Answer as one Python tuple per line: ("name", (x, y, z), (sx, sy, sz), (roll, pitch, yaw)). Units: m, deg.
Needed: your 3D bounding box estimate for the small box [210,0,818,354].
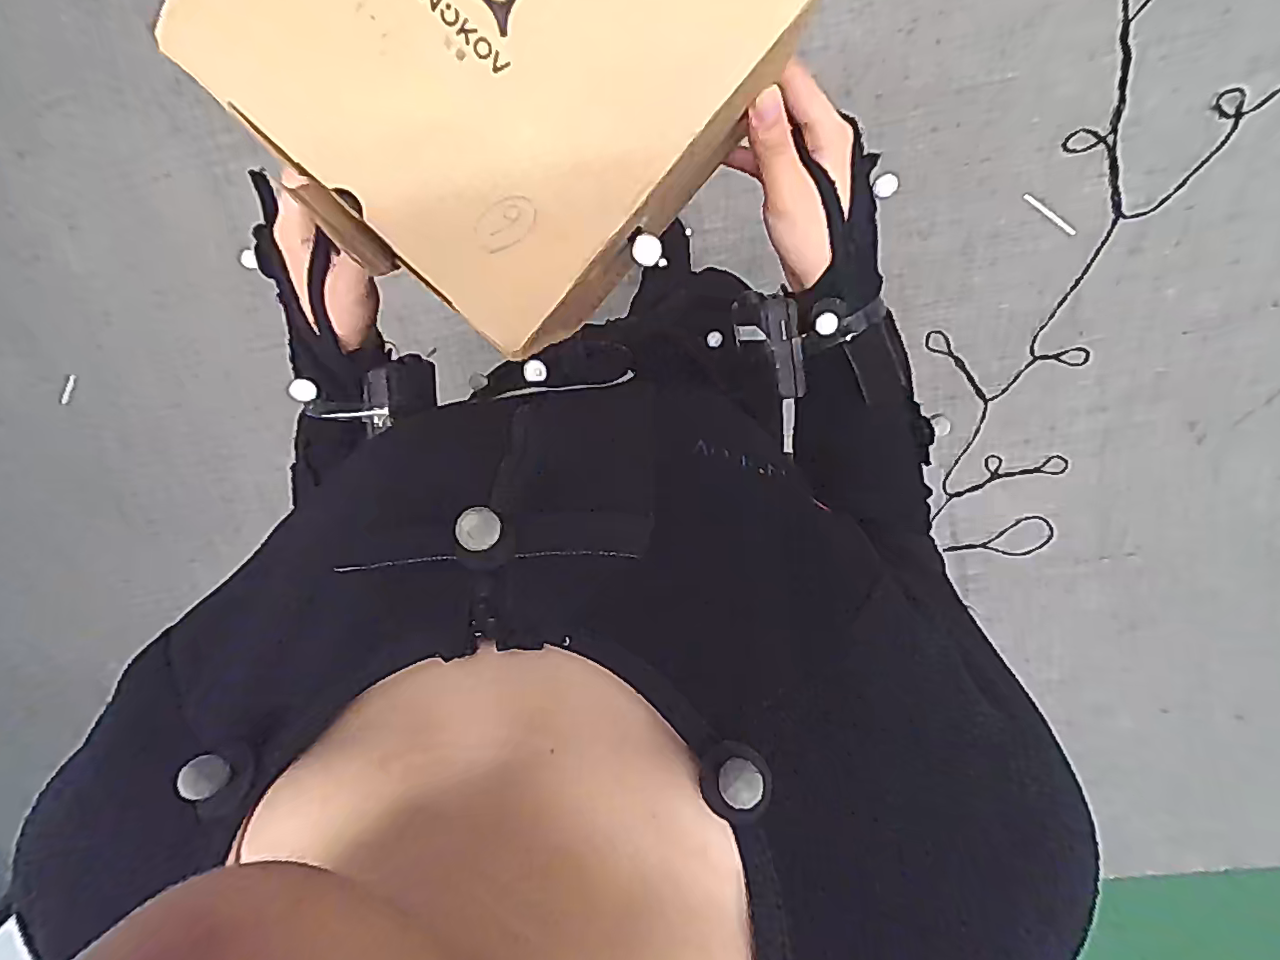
("small box", (-0.046, -0.188, 0.275), (0.168, 0.176, 0.179), (42, 105, -10))
